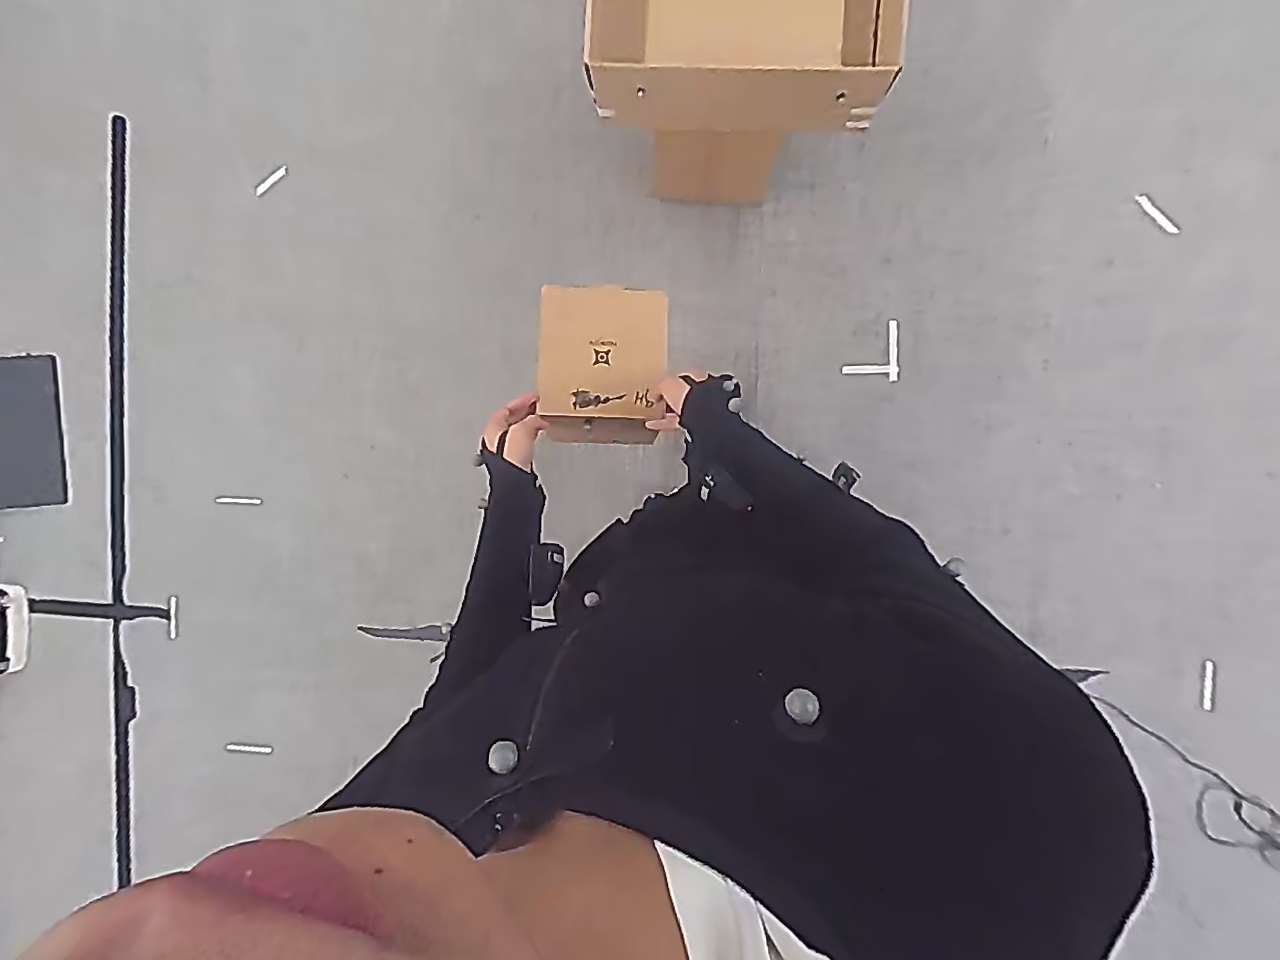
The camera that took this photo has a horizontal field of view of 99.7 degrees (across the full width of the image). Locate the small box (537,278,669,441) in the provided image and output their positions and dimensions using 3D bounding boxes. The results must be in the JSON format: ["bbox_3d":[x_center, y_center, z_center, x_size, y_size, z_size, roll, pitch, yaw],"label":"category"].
[{"bbox_3d":[-0.053,-0.161,0.769,0.168,0.176,0.179,2,83,-4],"label":"small box"}]
